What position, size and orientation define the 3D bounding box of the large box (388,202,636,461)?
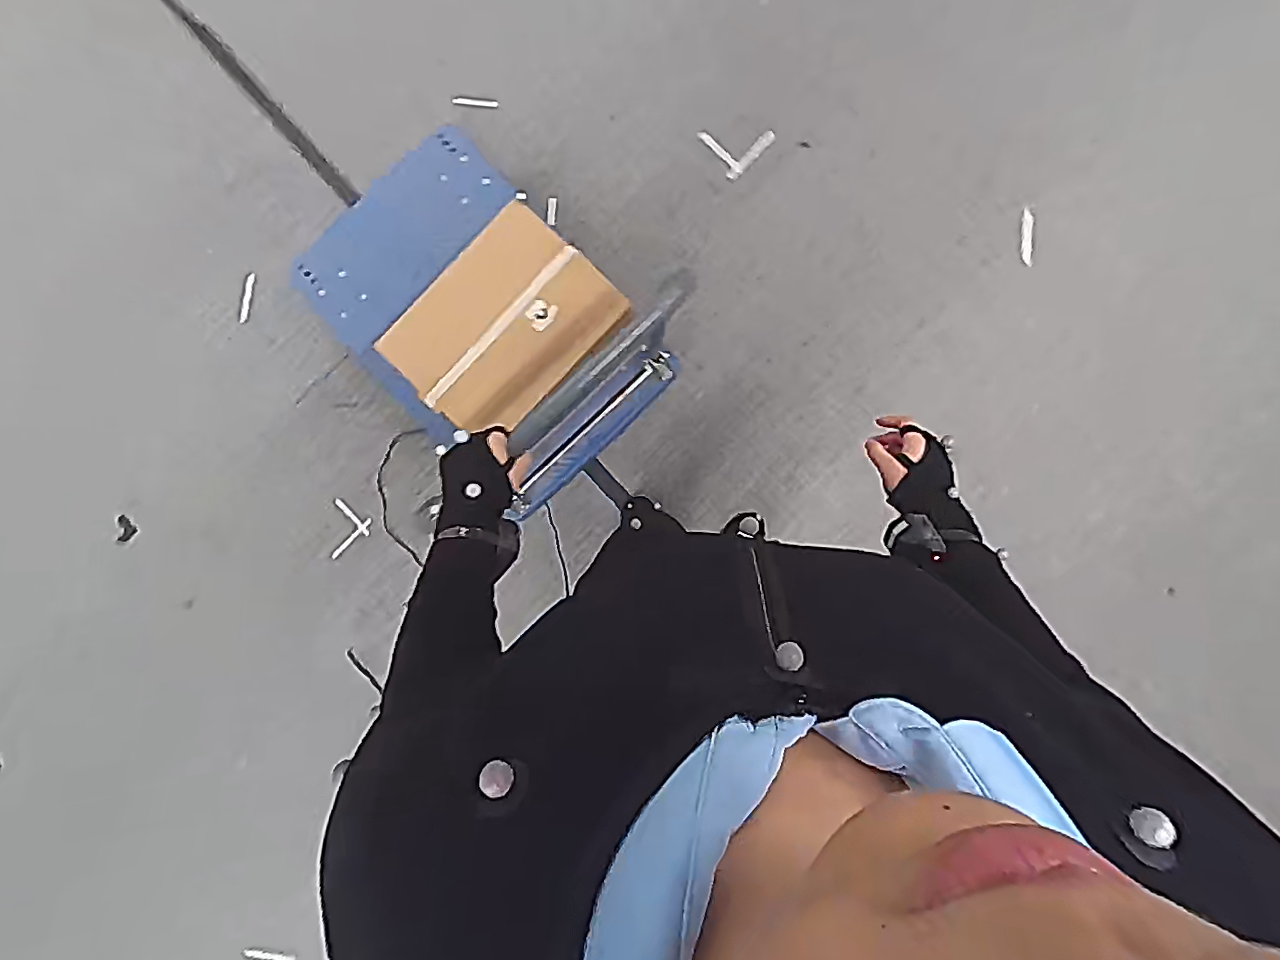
[{"bbox_3d":[-0.253,-0.297,1.206,0.320,0.320,0.408,43,89,1],"label":"large box"}]
